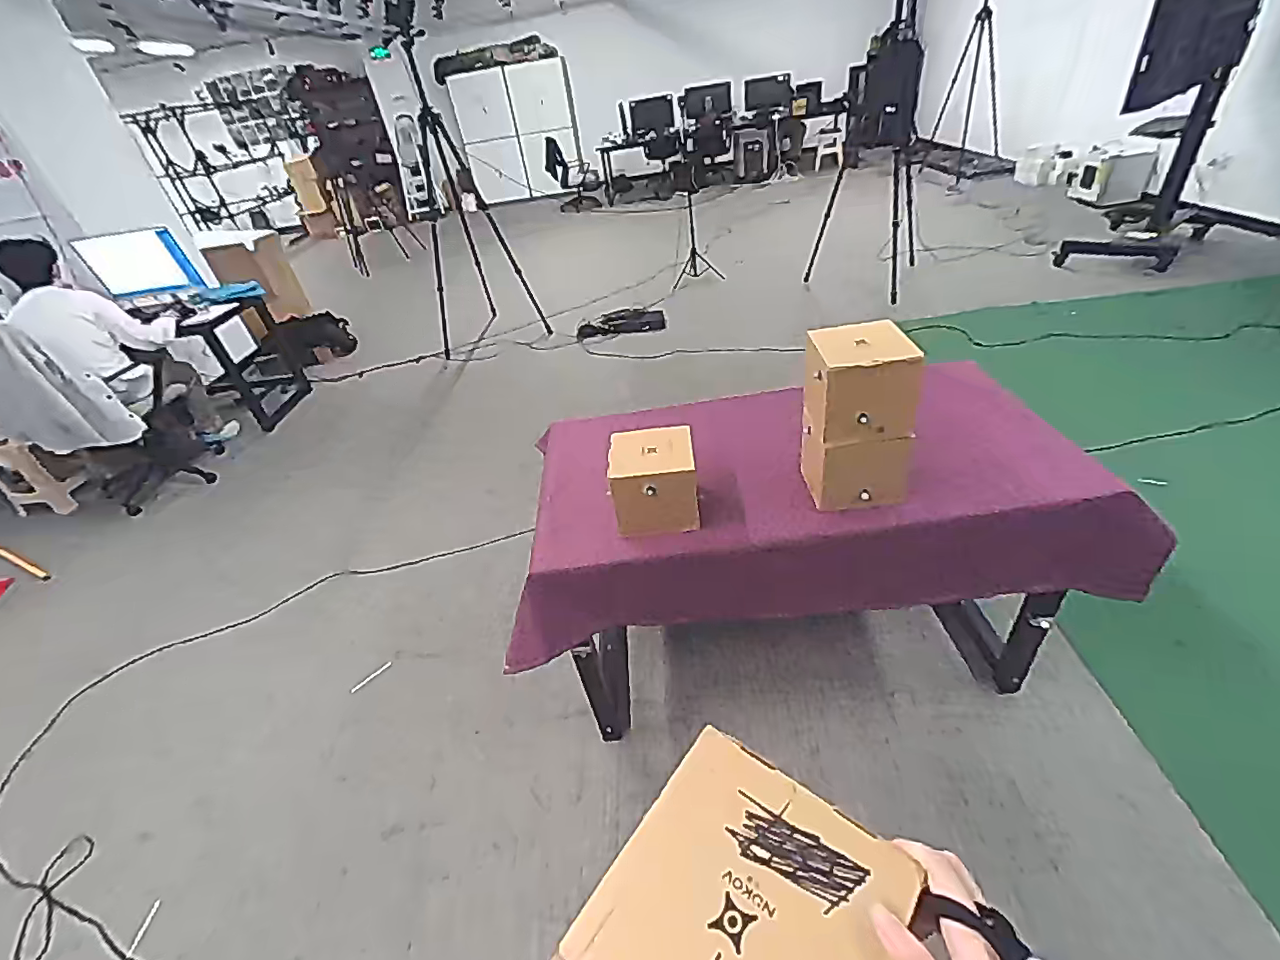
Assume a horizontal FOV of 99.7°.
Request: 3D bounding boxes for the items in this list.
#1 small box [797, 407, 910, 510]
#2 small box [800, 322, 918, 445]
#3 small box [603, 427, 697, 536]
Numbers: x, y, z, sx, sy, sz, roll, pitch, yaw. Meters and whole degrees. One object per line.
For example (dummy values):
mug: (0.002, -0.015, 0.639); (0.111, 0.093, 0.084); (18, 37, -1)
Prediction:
small box: (0.441, -0.054, 1.150); (0.179, 0.176, 0.168); (-7, 36, 4)
small box: (0.416, -0.190, 1.061); (0.168, 0.176, 0.179); (-7, 38, 5)
small box: (0.025, 0.007, 1.170); (0.179, 0.176, 0.168); (-5, 37, 5)
